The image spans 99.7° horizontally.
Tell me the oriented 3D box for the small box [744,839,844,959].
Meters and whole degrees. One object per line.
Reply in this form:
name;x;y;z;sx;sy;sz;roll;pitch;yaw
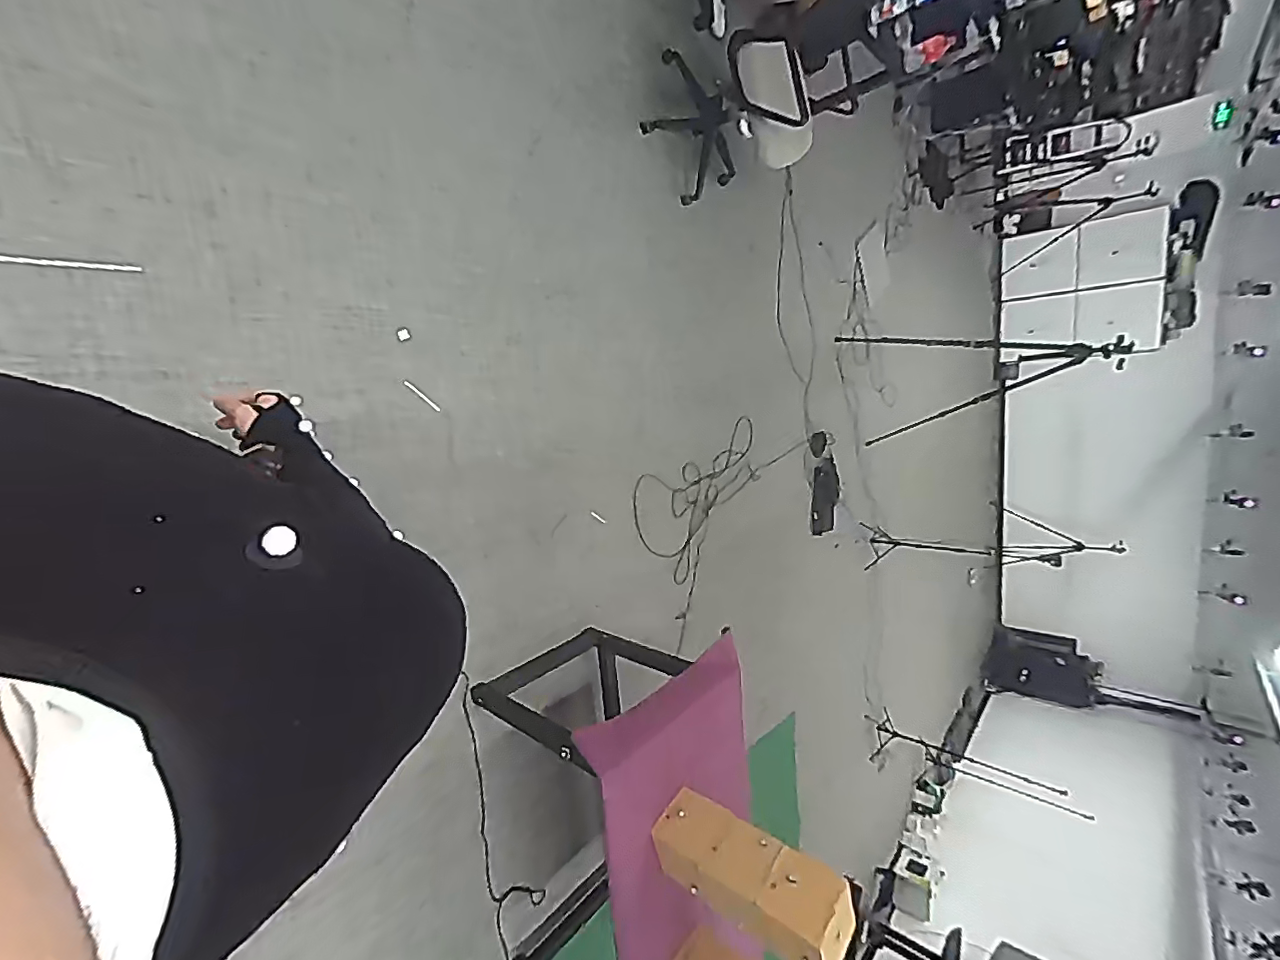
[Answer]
small box;0.377;1.033;1.323;0.168;0.176;0.179;-35;118;-41

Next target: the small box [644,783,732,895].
small box;0.136;1.014;1.543;0.168;0.176;0.179;-33;117;-43

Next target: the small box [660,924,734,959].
small box;0.171;1.483;1.613;0.168;0.176;0.179;-12;101;-48
